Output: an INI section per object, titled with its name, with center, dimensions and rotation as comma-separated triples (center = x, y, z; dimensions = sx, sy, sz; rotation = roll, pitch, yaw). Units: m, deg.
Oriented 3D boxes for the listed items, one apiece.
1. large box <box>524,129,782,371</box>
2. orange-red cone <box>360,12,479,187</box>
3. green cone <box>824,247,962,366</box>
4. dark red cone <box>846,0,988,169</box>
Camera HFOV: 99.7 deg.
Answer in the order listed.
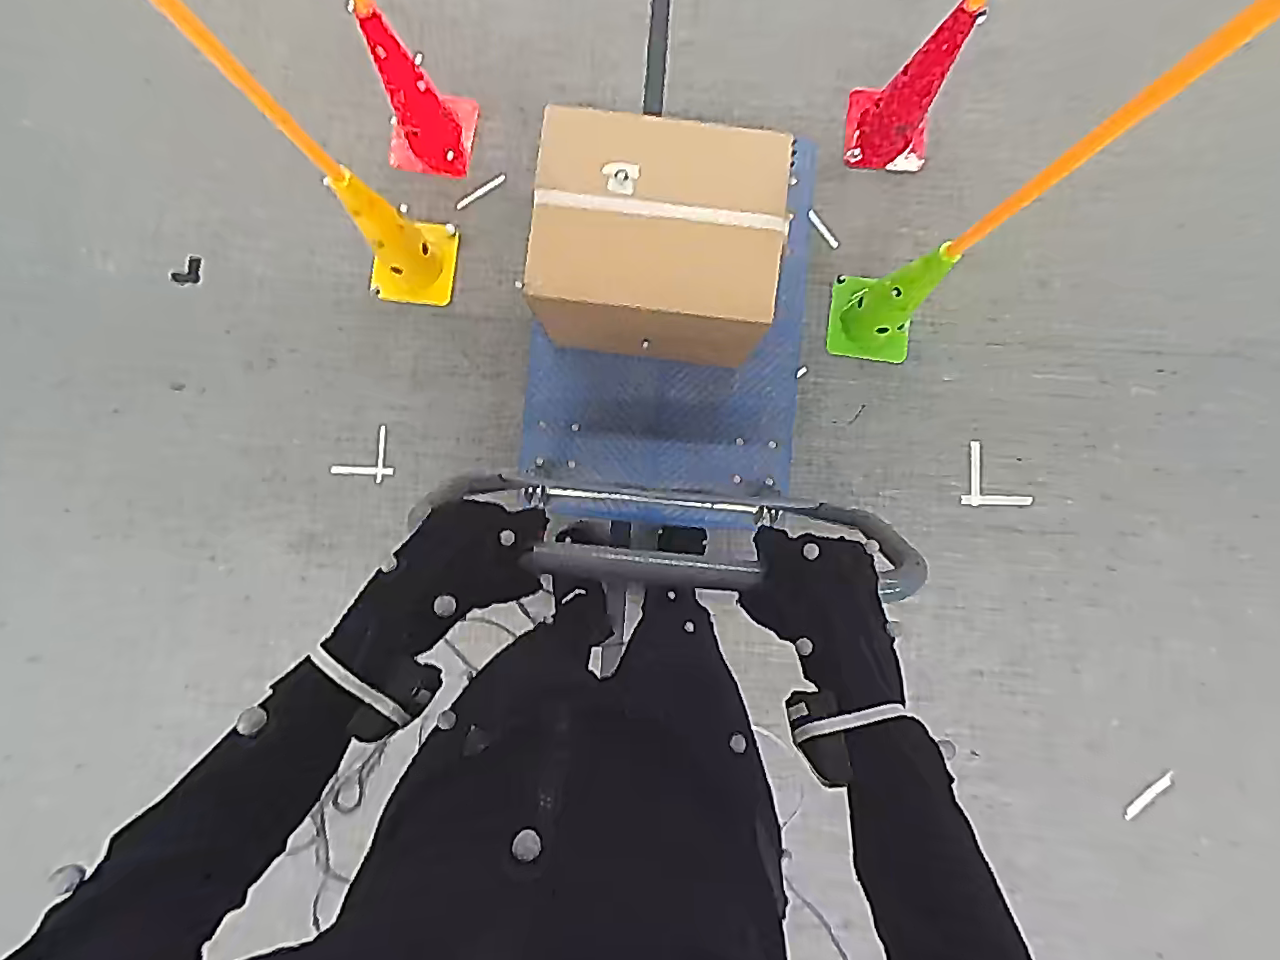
[large box]
center = 0.026, -0.406, 1.032
dimensions = 0.408, 0.320, 0.320
rotation = 7, 88, 1
[orange-red cone]
center = -0.517, -0.861, 1.199
dimensions = 0.198, 0.360, 0.199
rotation = 11, 86, 0
[green cone]
center = 0.567, -0.399, 1.174
dimensions = 0.202, 0.368, 0.200
rotation = 7, 87, -1
[dark red cone]
center = 0.616, -0.882, 1.180
dimensions = 0.201, 0.394, 0.202
rotation = 4, 88, -2
